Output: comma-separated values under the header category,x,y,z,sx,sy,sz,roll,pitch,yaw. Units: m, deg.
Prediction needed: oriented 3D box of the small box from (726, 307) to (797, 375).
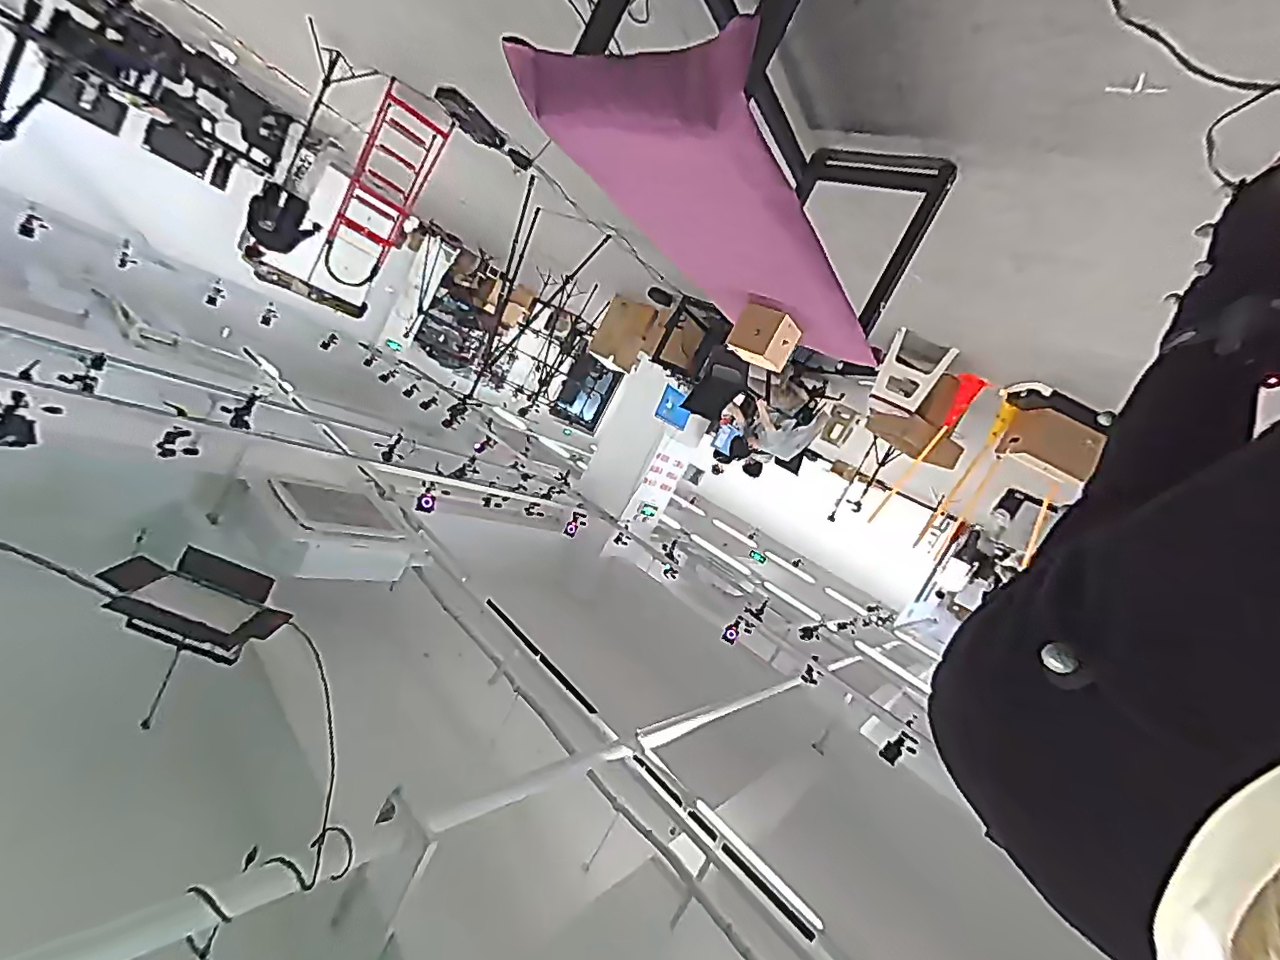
category,x,y,z,sx,sy,sz,roll,pitch,yaw
small box,0.452,-0.511,1.973,0.179,0.176,0.168,31,-174,36
